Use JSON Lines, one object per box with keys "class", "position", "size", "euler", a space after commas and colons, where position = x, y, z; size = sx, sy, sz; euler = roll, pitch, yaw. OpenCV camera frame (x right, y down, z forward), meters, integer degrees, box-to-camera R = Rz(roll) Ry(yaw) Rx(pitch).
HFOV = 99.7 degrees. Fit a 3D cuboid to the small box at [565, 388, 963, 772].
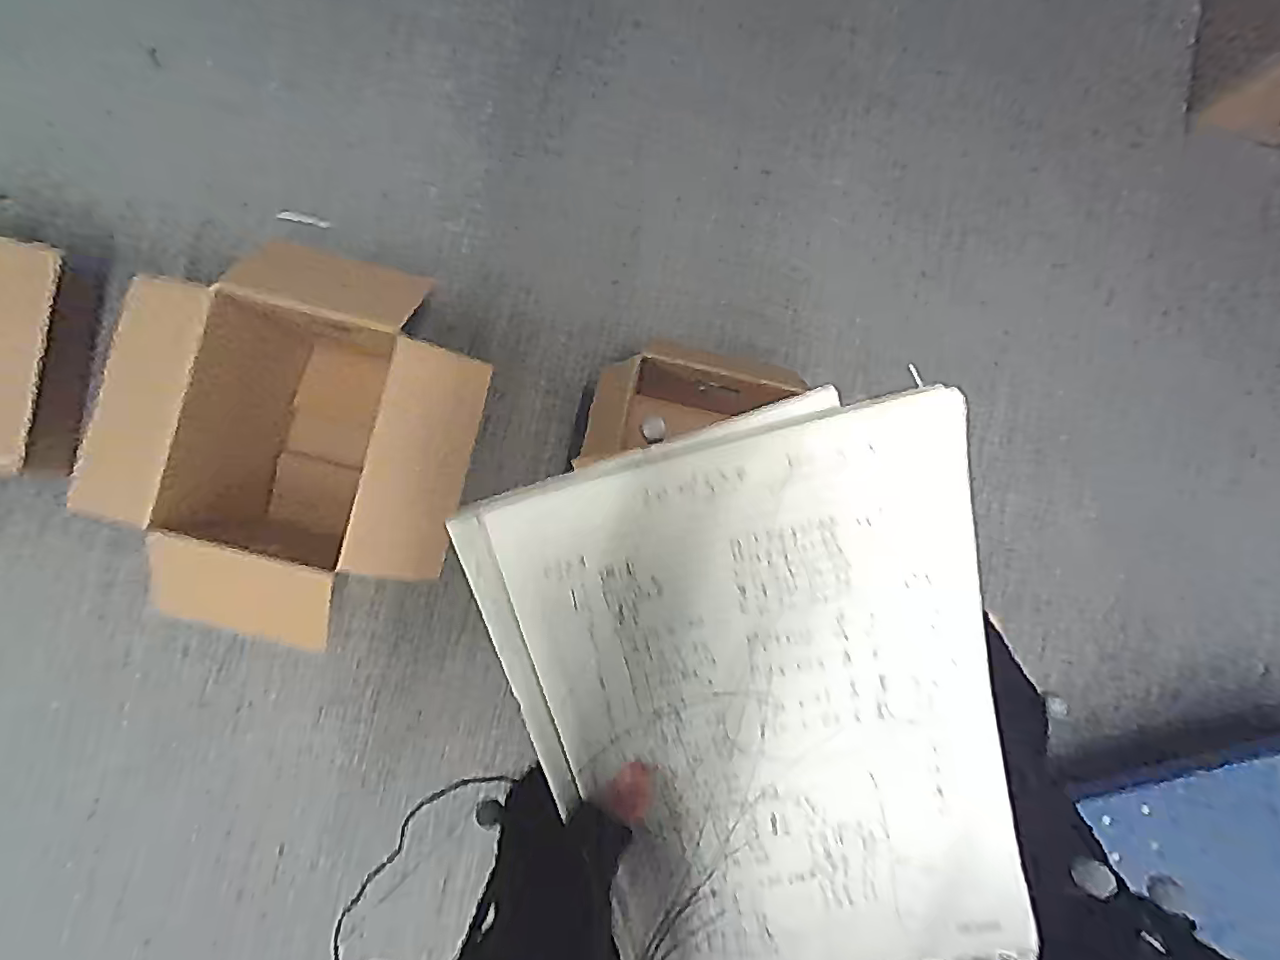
{"class": "small box", "position": [0.060, 0.045, 0.342], "size": [0.179, 0.176, 0.168], "euler": [-10, 94, -2]}
